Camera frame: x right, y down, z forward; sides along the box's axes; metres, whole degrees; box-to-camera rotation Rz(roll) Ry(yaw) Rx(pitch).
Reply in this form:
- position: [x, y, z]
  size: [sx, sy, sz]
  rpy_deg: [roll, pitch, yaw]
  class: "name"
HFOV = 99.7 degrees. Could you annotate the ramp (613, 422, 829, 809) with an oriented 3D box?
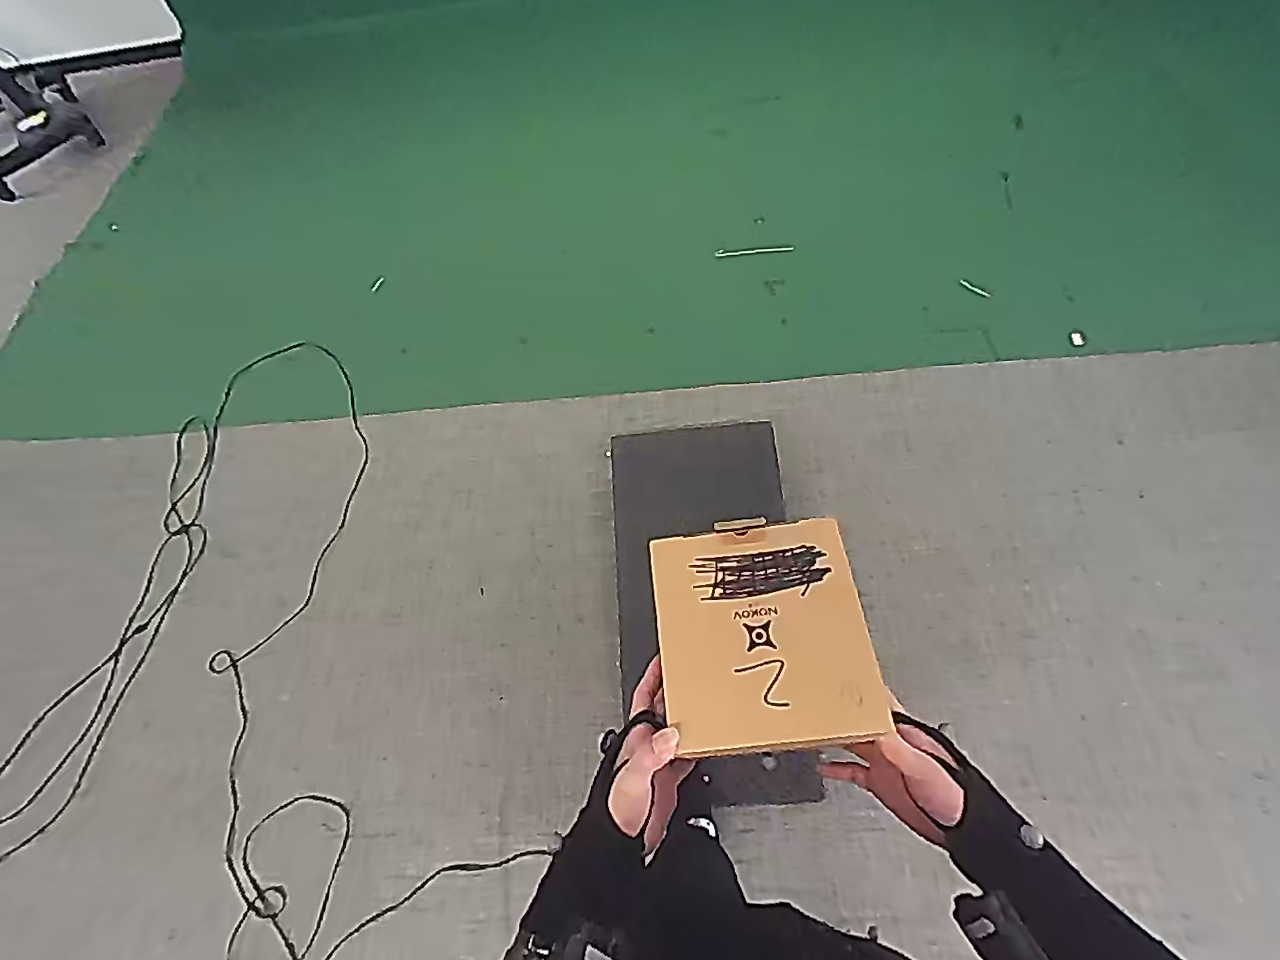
- position: [0.191, 0.323, 1.475]
  size: [0.509, 0.206, 0.991]
  rpy_deg: [-6, 62, 3]
  class: "ramp"
